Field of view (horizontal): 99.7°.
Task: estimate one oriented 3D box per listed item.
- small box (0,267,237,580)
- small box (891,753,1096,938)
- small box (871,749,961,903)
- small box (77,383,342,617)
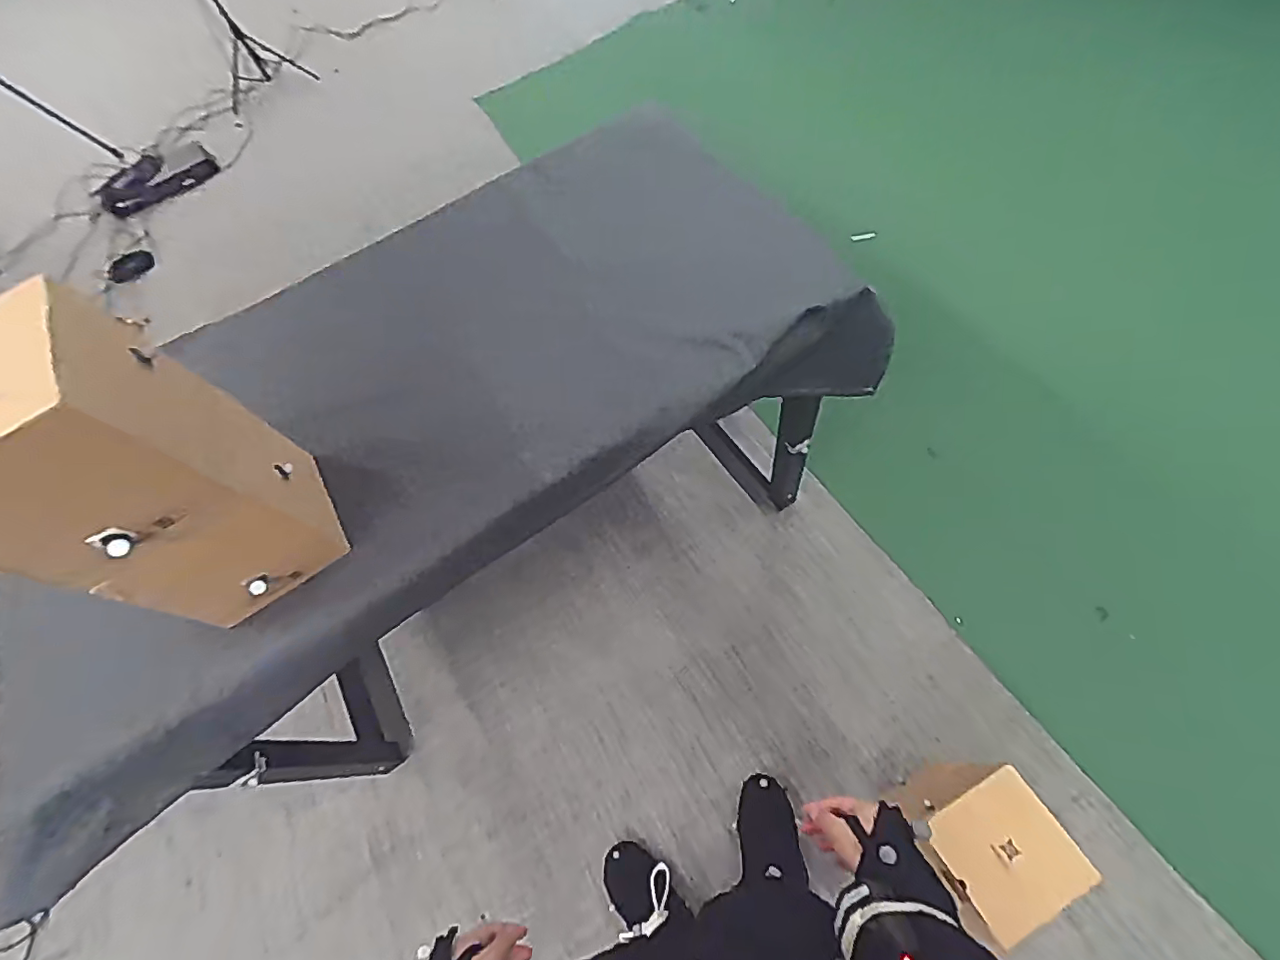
[{"bbox_3d":[-0.508,-0.039,0.474,0.168,0.176,0.179,-35,65,-7],"label":"small box"},{"bbox_3d":[0.530,0.547,0.842,0.179,0.176,0.168,-31,64,-6],"label":"small box"},{"bbox_3d":[0.549,0.618,0.989,0.179,0.176,0.168,-33,64,-6],"label":"small box"},{"bbox_3d":[-0.485,0.031,0.619,0.168,0.176,0.179,-35,65,-8],"label":"small box"}]
